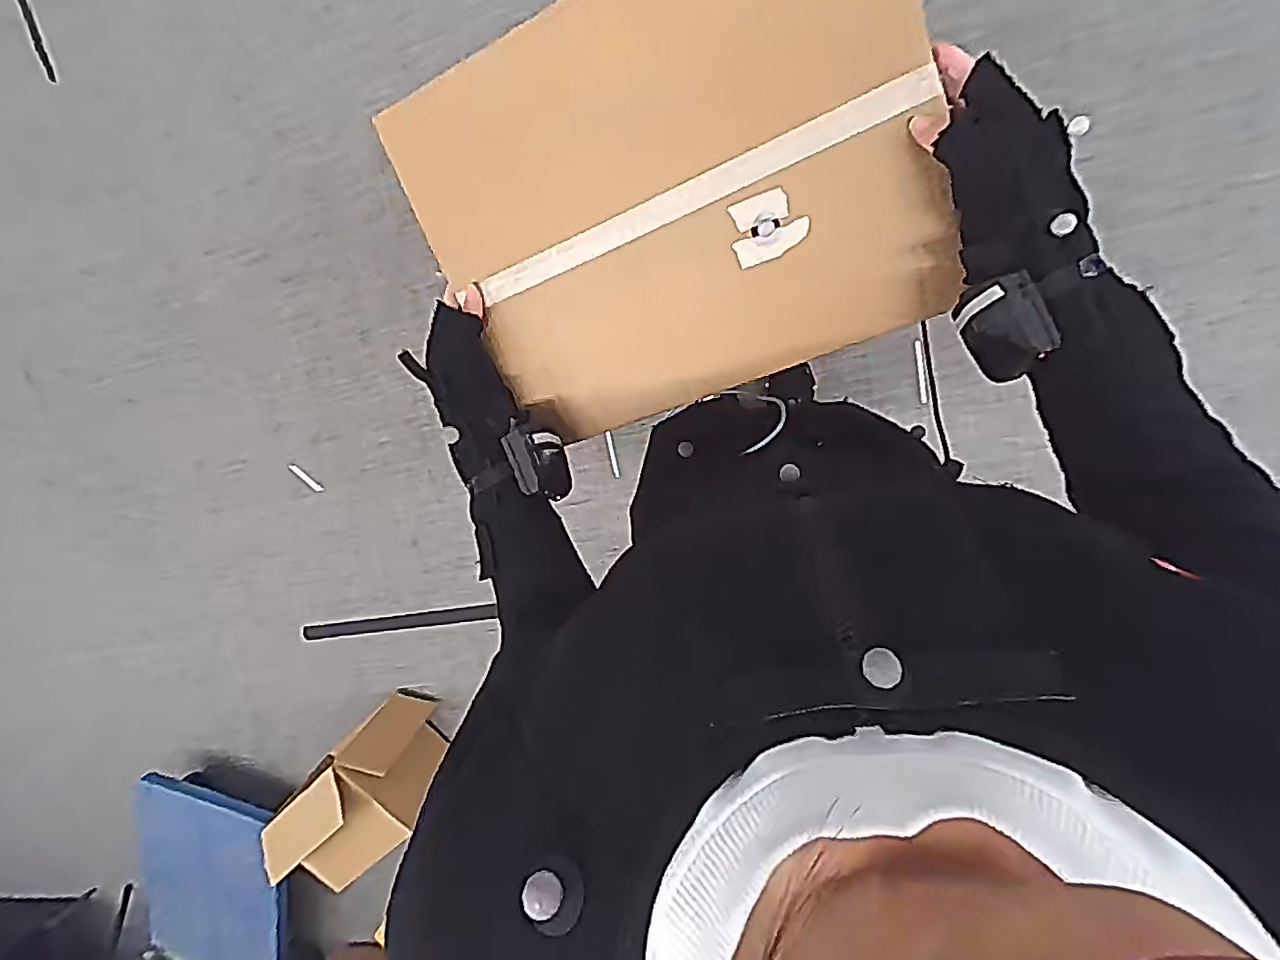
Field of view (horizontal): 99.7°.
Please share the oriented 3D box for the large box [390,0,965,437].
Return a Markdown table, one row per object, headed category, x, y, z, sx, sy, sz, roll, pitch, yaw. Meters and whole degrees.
| category | x | y | z | sx | sy | sz | roll | pitch | yaw |
| --- | --- | --- | --- | --- | --- | --- | --- | --- | --- |
| large box | 0.045 | -0.288 | 0.578 | 0.408 | 0.320 | 0.320 | -18 | 109 | 16 |
